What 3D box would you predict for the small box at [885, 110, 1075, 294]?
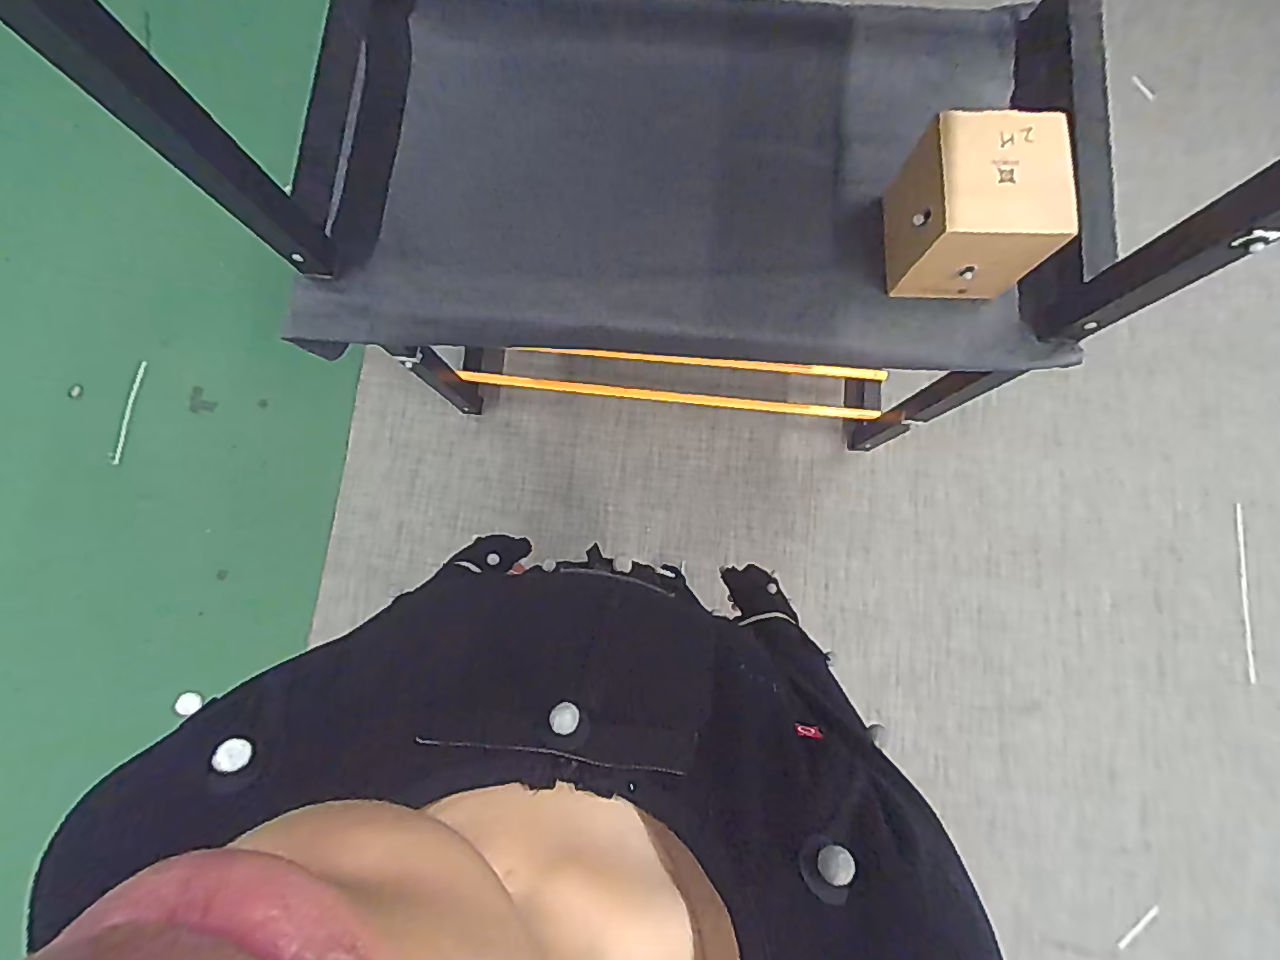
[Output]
[{"bbox_3d":[0.467,-0.382,0.769,0.168,0.176,0.179,2,81,0],"label":"small box"}]
